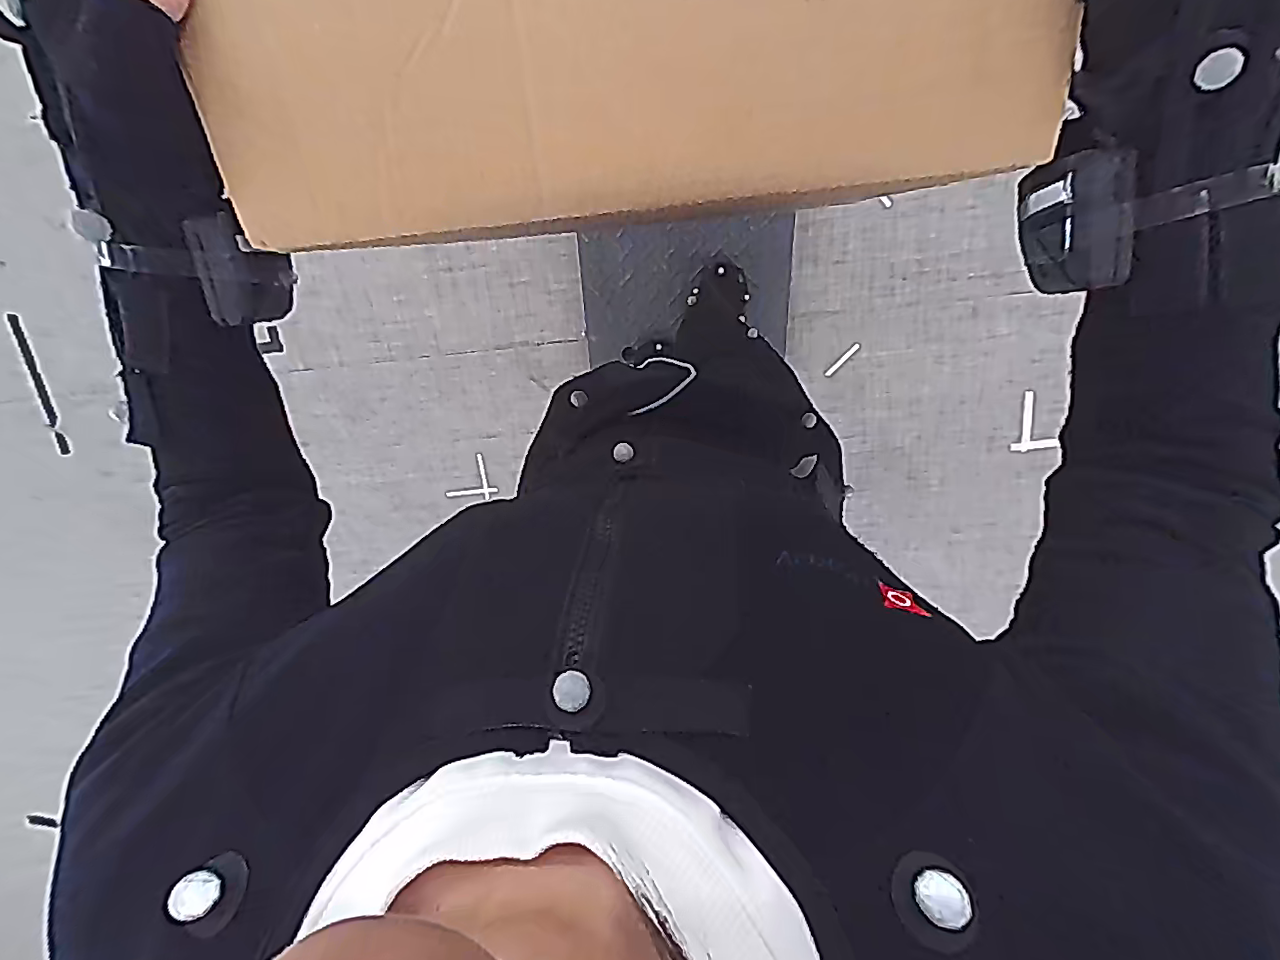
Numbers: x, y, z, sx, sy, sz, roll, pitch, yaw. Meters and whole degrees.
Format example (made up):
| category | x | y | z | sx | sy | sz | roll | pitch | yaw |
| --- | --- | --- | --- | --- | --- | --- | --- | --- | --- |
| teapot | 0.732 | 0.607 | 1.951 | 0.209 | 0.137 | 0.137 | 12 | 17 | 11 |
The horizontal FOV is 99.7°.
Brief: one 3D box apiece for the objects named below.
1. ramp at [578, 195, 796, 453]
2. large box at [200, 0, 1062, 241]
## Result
| category | x | y | z | sx | sy | sz | roll | pitch | yaw |
| --- | --- | --- | --- | --- | --- | --- | --- | --- | --- |
| ramp | 0.107 | -0.520 | 1.247 | 0.509 | 0.206 | 0.991 | -4 | 109 | 4 |
| large box | -0.011 | -0.350 | 0.355 | 0.408 | 0.320 | 0.320 | -4 | 115 | 6 |
